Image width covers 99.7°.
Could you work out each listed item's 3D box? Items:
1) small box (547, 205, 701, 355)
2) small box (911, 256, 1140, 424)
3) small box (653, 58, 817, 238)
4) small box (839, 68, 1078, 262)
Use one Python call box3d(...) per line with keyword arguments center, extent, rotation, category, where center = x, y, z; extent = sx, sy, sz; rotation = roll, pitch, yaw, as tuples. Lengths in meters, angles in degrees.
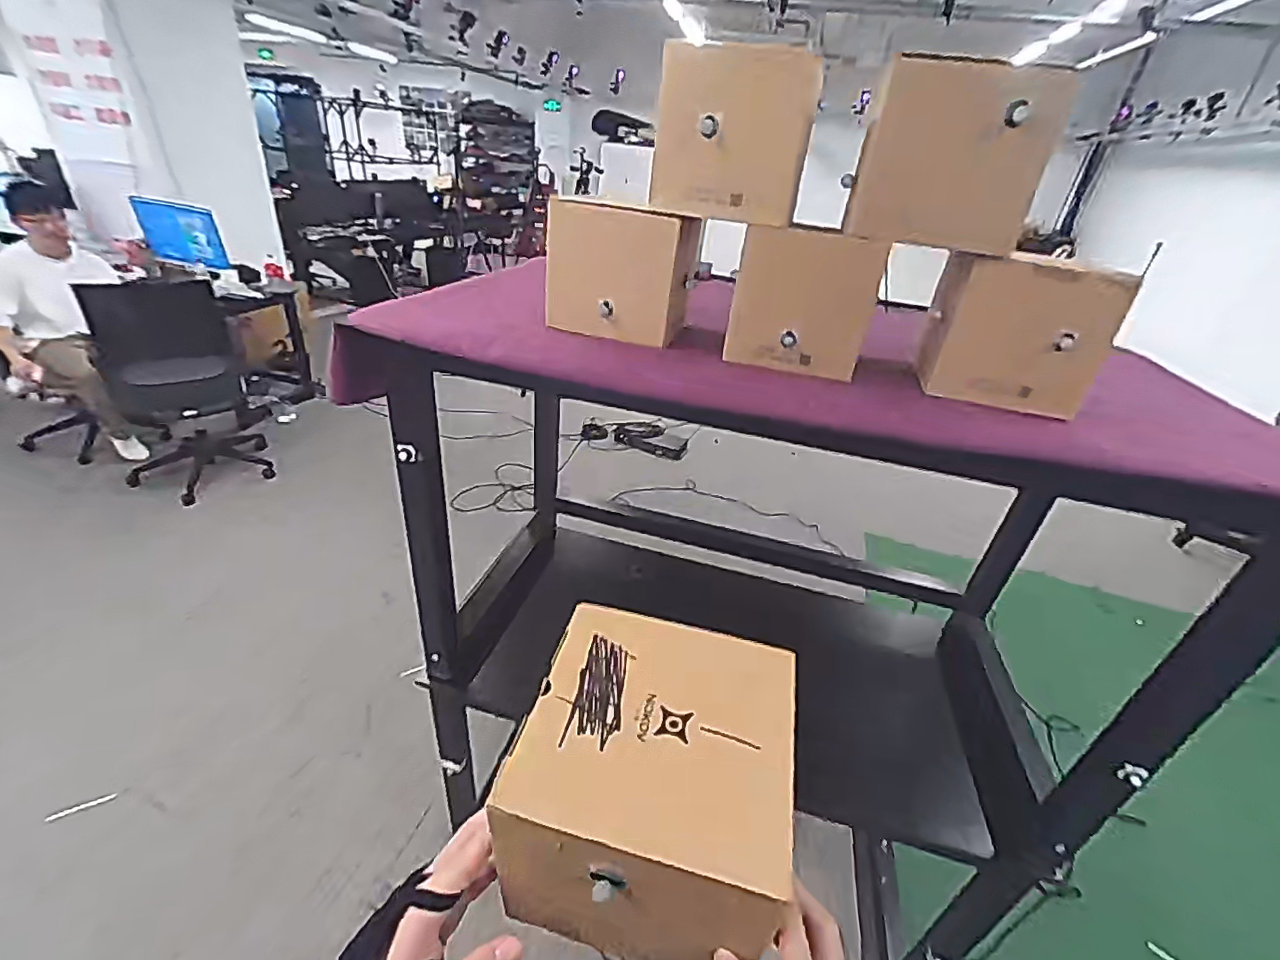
box3d(center=(-0.022, -0.289, 0.779), extent=(0.179, 0.176, 0.168), rotation=(13, 30, 11), category="small box")
box3d(center=(0.463, -0.185, 0.687), extent=(0.168, 0.176, 0.179), rotation=(14, 29, 14), category="small box")
box3d(center=(0.117, -0.402, 0.673), extent=(0.168, 0.176, 0.179), rotation=(12, 30, 13), category="small box")
box3d(center=(0.344, -0.355, 0.627), extent=(0.179, 0.176, 0.168), rotation=(13, 29, 12), category="small box")
